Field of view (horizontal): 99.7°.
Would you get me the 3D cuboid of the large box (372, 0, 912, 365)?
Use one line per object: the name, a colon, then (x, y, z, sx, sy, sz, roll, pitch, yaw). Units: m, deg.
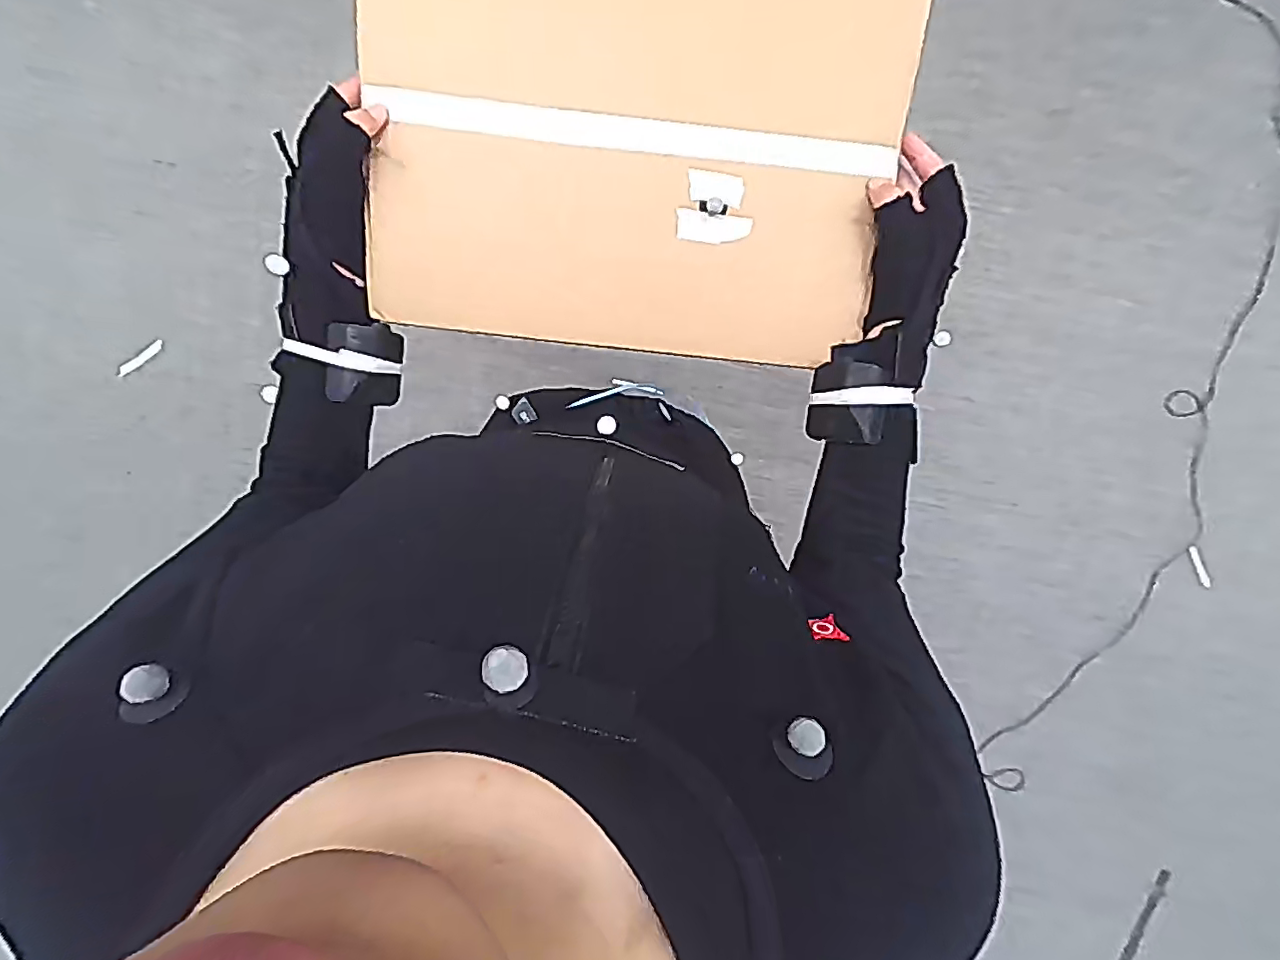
large box: (-0.010, -0.300, 0.567, 0.408, 0.320, 0.320, 5, 106, -3)
